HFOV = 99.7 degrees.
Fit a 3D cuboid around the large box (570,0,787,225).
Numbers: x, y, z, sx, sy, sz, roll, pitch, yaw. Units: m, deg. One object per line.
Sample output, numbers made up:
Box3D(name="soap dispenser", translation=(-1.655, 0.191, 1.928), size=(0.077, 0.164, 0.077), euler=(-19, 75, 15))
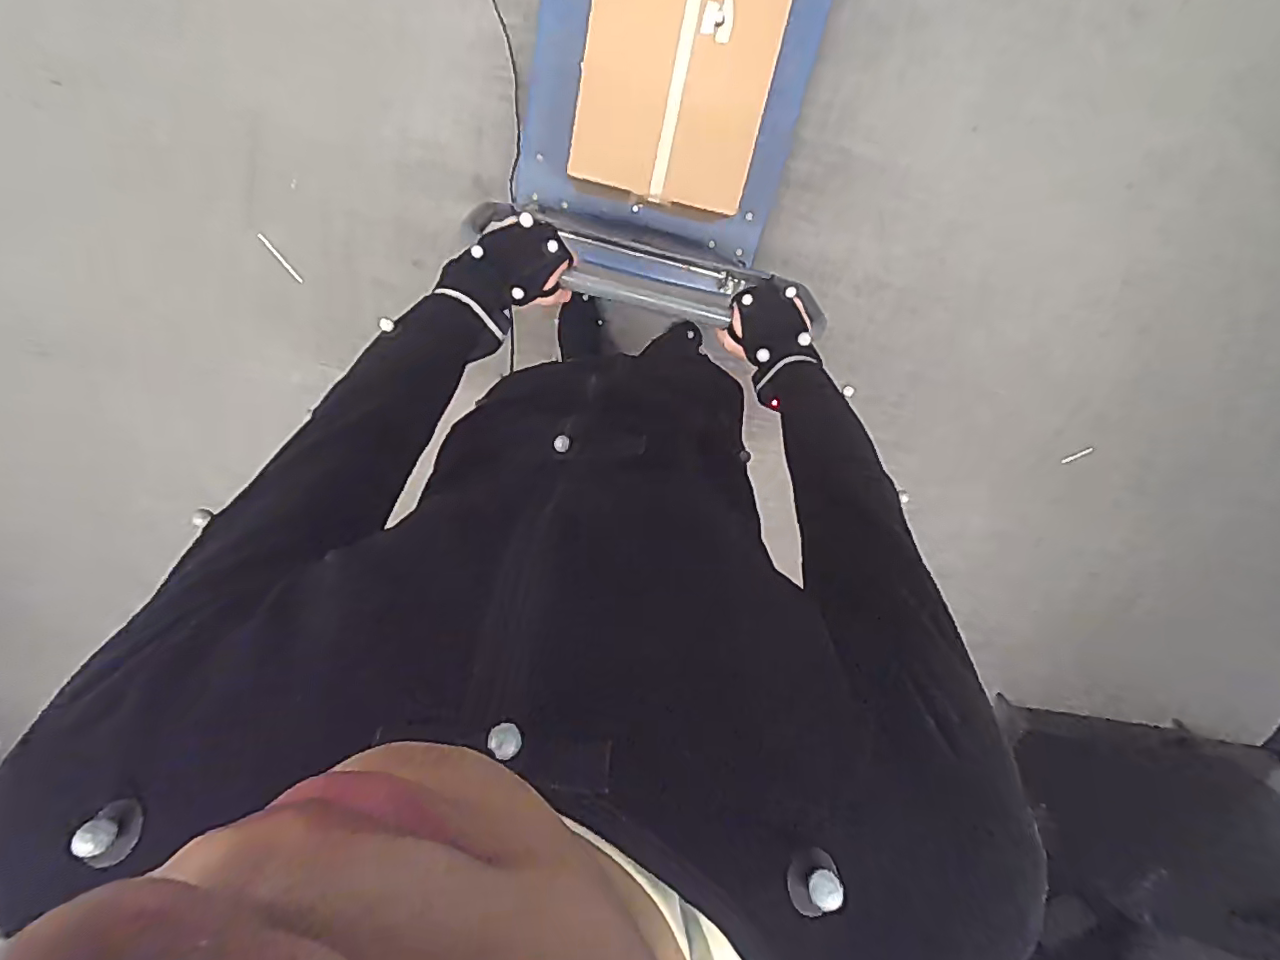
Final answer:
Box3D(name="large box", translation=(0.057, -0.741, 1.039), size=(0.320, 0.320, 0.408), euler=(10, 112, -7))
